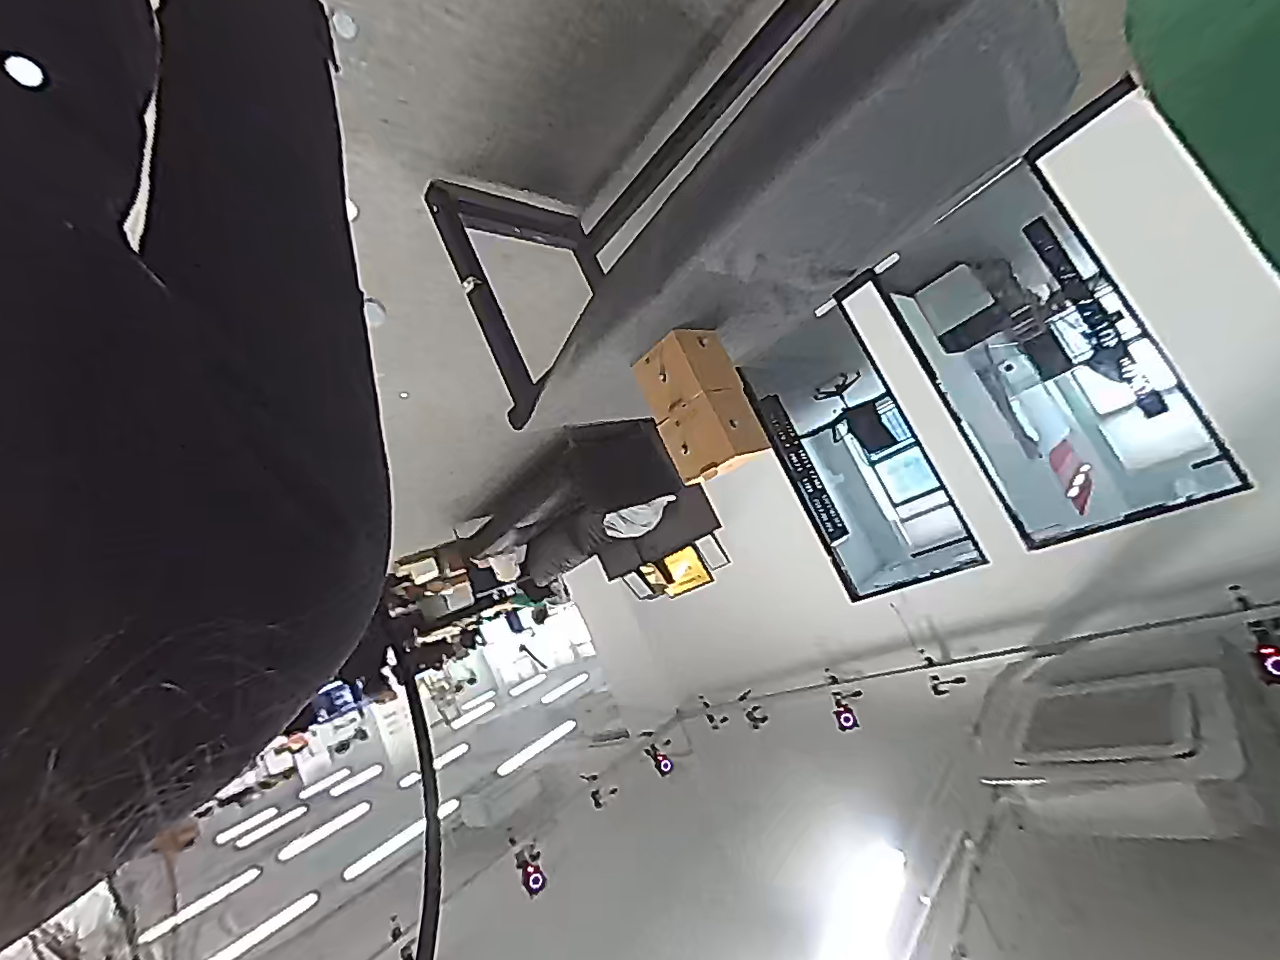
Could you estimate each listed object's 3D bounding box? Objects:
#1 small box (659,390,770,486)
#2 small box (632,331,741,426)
[{"bbox_3d":[0.176,-0.106,1.312,0.168,0.176,0.179,-32,169,40],"label":"small box"},{"bbox_3d":[0.110,-0.253,1.336,0.179,0.176,0.168,-15,166,-46],"label":"small box"}]
